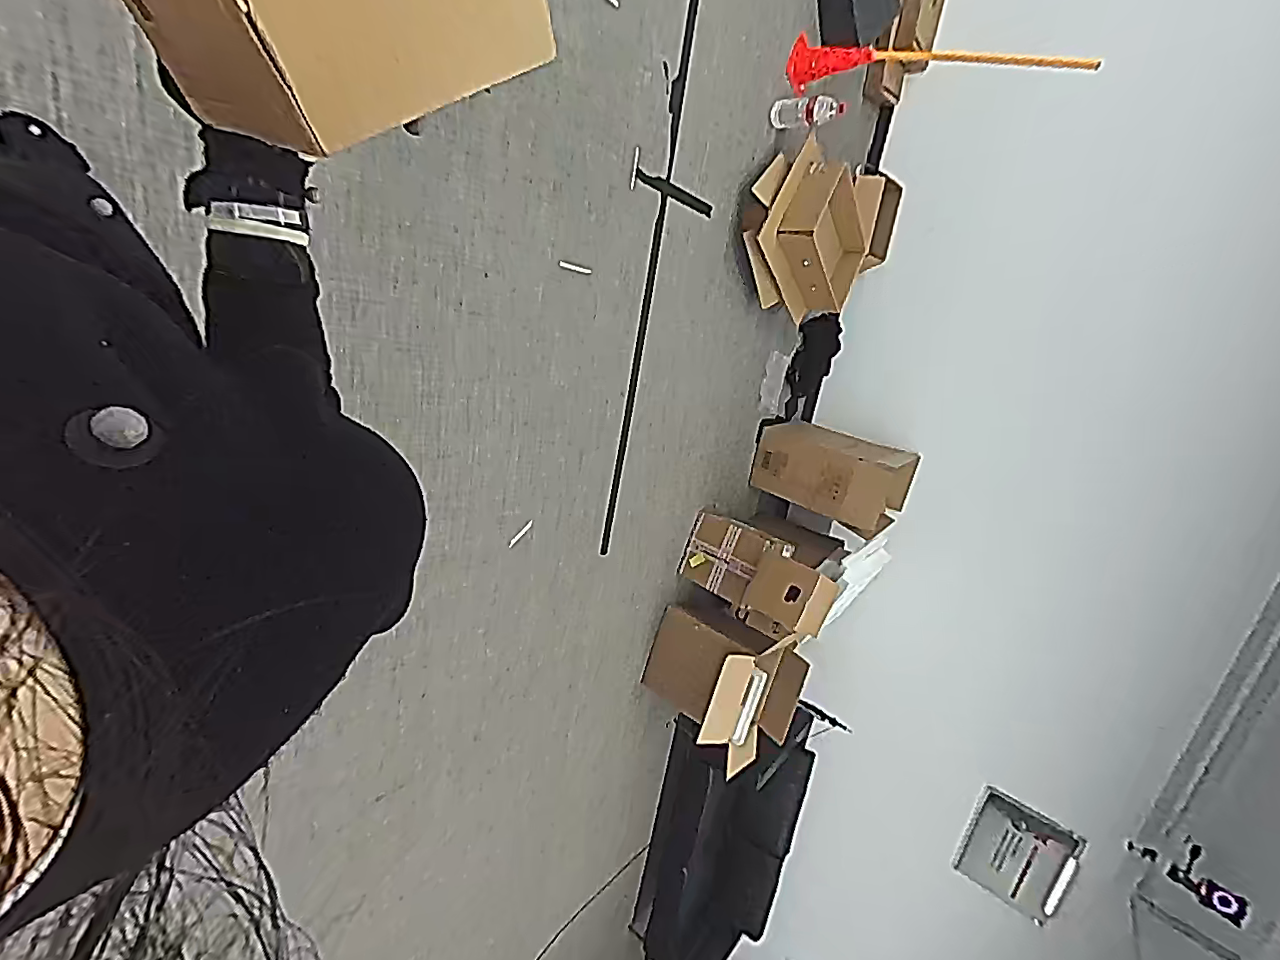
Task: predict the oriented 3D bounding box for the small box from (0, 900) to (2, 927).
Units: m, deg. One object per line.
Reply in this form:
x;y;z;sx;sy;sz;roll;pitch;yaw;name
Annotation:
-0.970;0.521;0.690;0.168;0.176;0.179;-19;123;-46;small box

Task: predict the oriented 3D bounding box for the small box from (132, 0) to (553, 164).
-0.183;-0.311;0.305;0.179;0.176;0.168;-45;148;-25;small box
